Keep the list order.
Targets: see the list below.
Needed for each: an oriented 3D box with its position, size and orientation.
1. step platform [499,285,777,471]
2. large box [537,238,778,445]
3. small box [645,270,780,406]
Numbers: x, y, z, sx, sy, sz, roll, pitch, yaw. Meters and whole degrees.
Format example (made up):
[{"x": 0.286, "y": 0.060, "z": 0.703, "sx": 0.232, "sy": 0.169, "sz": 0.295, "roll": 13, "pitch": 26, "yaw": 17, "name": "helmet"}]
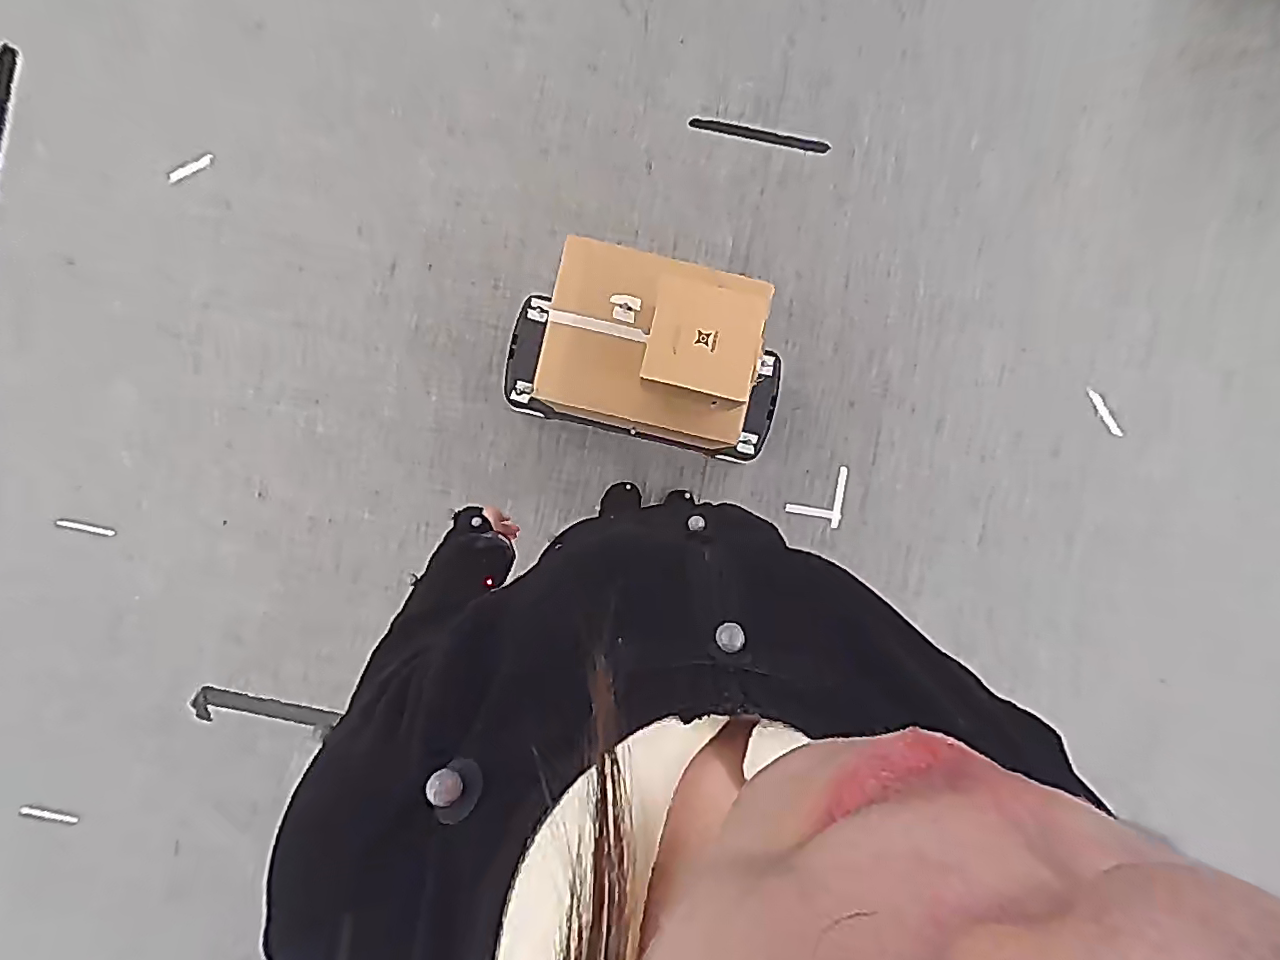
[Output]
[{"x": -0.003, "y": -0.252, "z": 1.389, "sx": 0.684, "sy": 0.204, "sz": 0.286, "roll": 18, "pitch": 92, "yaw": -1, "name": "step platform"}, {"x": 0.034, "y": -0.264, "z": 1.150, "sx": 0.408, "sy": 0.320, "sz": 0.320, "roll": 13, "pitch": 91, "yaw": 0, "name": "large box"}, {"x": 0.111, "y": -0.225, "z": 0.907, "sx": 0.179, "sy": 0.176, "sz": 0.168, "roll": 14, "pitch": 92, "yaw": -1, "name": "small box"}]
